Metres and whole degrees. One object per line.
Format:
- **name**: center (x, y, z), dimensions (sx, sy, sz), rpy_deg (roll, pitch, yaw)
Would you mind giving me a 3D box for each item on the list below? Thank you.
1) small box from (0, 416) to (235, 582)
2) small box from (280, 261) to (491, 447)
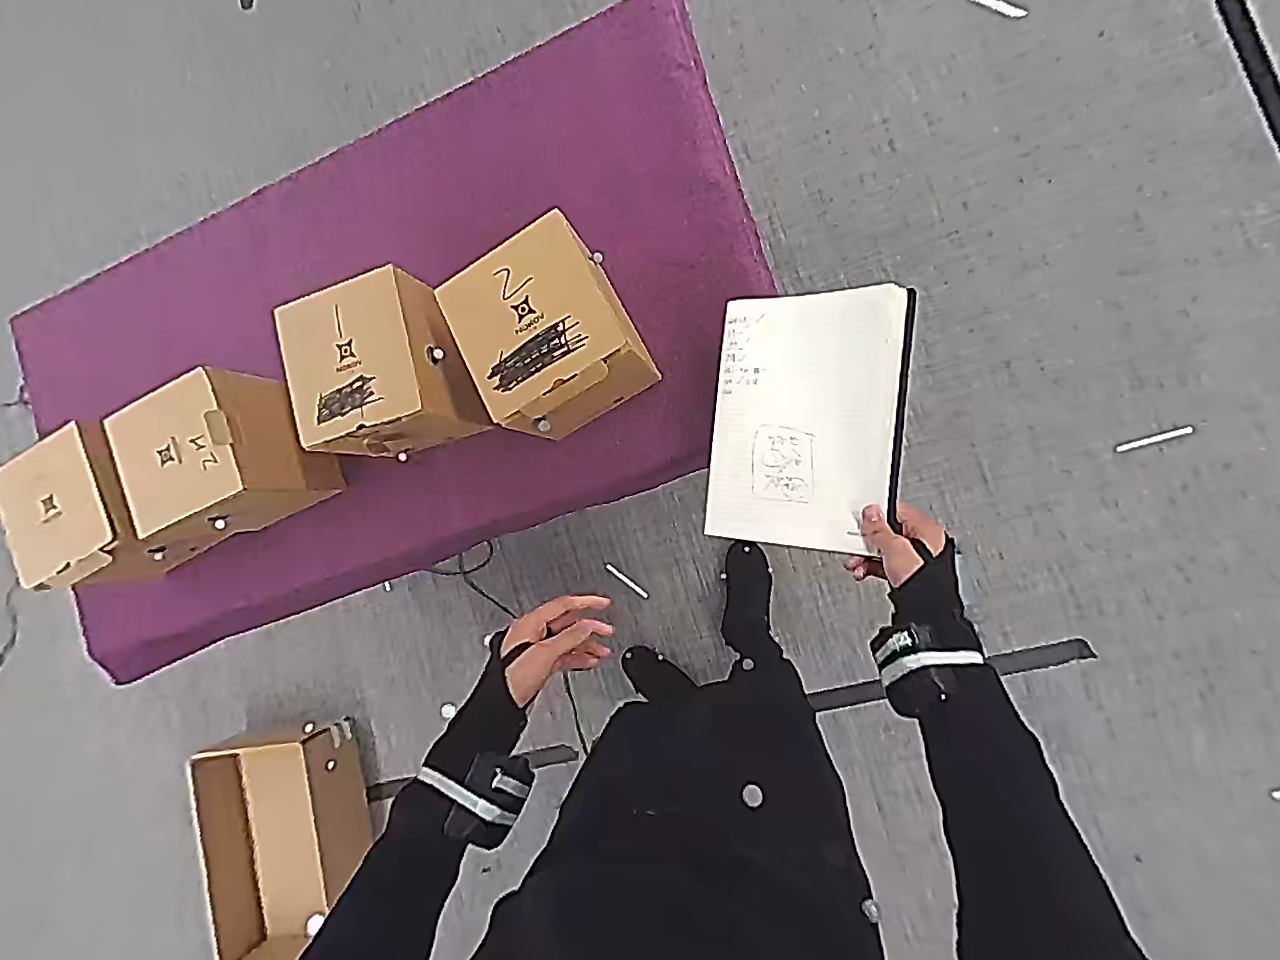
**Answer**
- **small box**: center (-0.744, 0.026, 0.789), dimensions (0.168, 0.176, 0.179), rpy_deg (-25, 84, 10)
- **small box**: center (-0.312, -0.144, 0.695), dimensions (0.168, 0.176, 0.179), rpy_deg (-14, 86, 12)
